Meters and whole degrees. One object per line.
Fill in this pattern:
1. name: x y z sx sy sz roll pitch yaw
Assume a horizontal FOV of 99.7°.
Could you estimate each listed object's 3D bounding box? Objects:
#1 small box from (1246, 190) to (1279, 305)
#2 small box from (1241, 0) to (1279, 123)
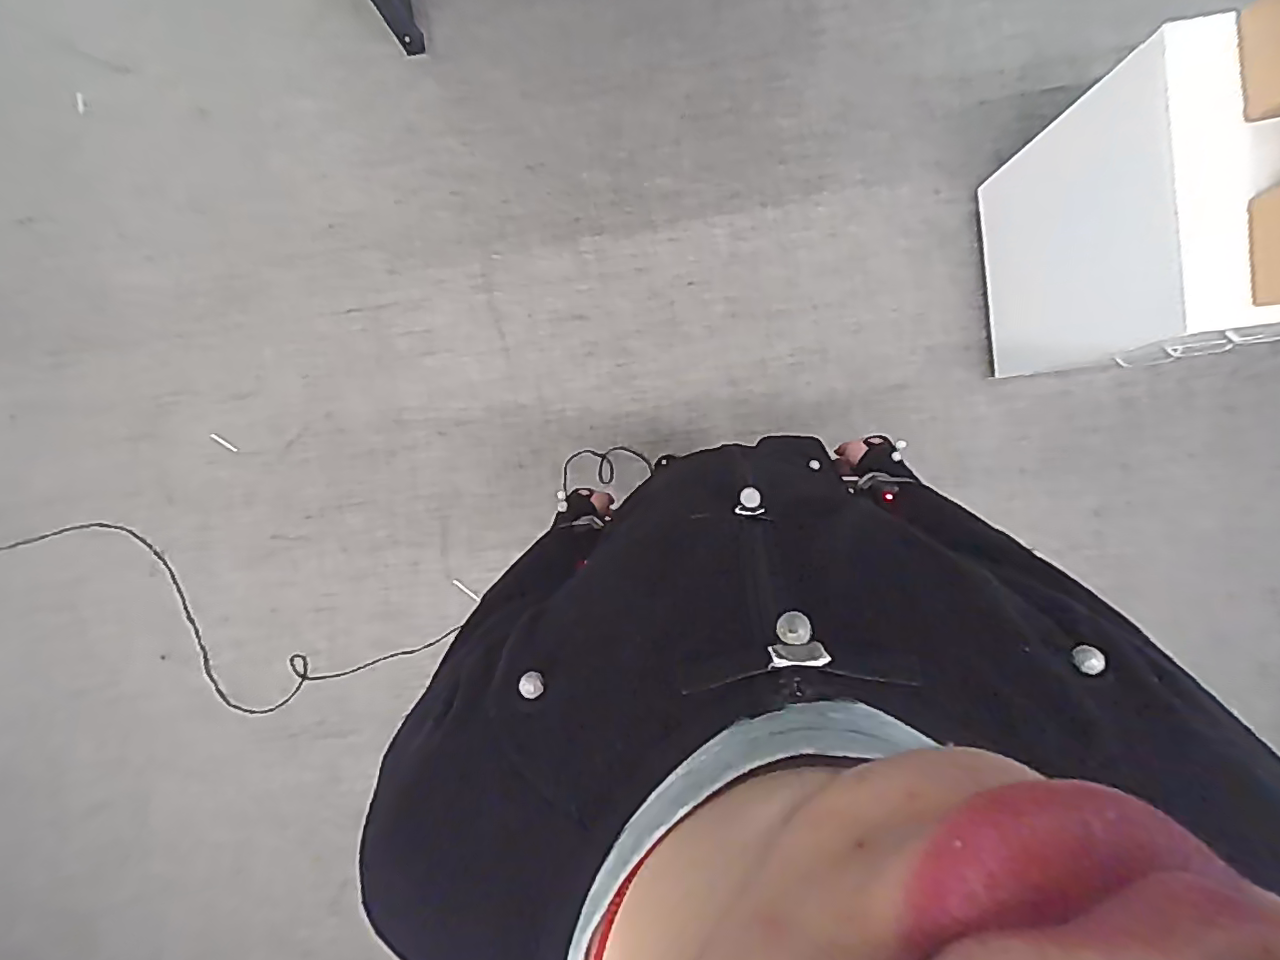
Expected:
1. small box: 1.069 -0.368 0.799 0.168 0.176 0.179 -6 91 3
2. small box: 1.040 -0.665 0.783 0.168 0.176 0.179 -8 94 5
